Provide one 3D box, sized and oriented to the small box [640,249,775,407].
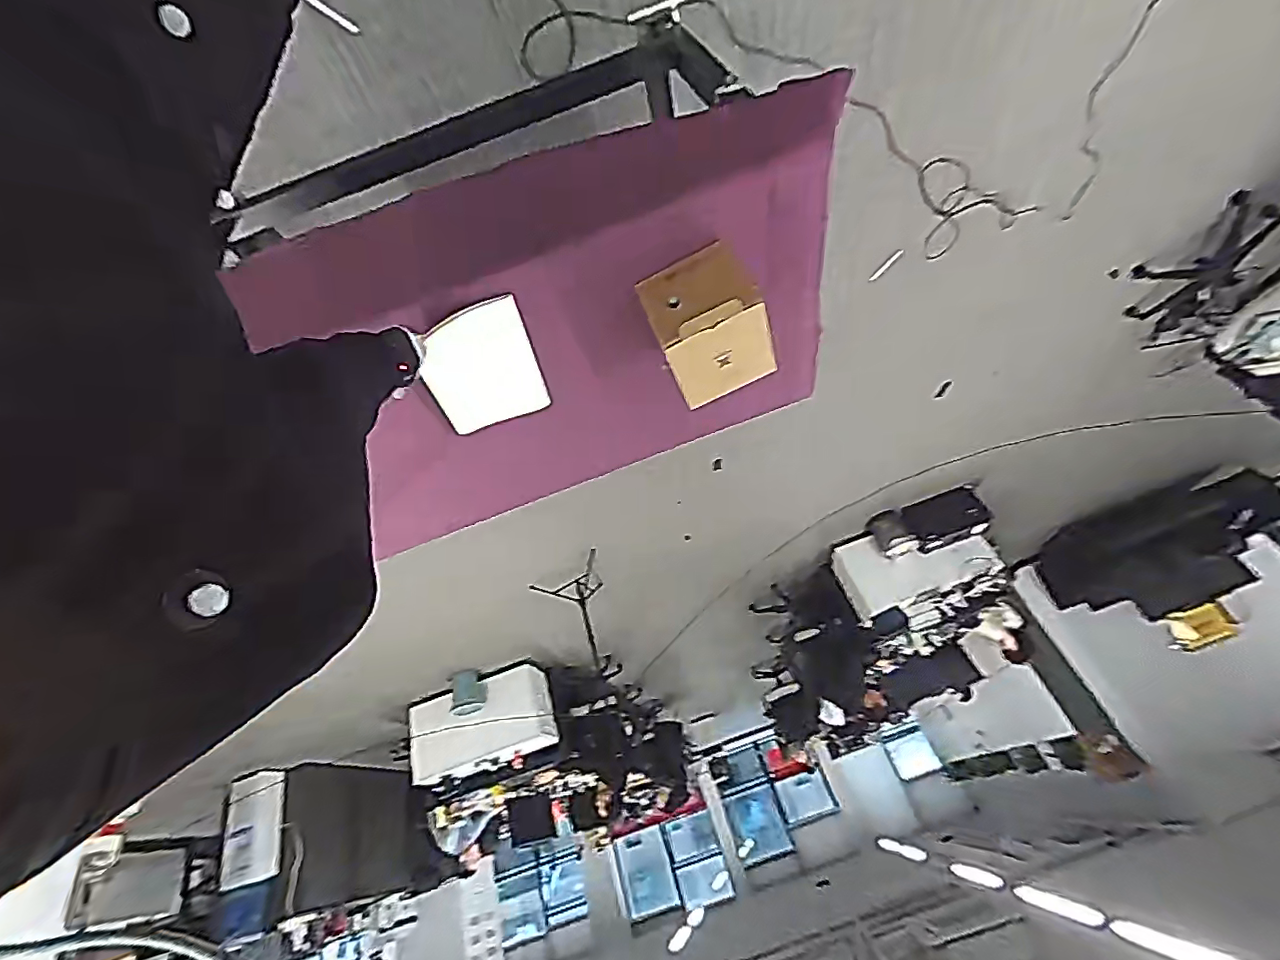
[{"bbox_3d":[0.115,-0.266,0.933,0.168,0.176,0.179,-24,147,8],"label":"small box"}]
